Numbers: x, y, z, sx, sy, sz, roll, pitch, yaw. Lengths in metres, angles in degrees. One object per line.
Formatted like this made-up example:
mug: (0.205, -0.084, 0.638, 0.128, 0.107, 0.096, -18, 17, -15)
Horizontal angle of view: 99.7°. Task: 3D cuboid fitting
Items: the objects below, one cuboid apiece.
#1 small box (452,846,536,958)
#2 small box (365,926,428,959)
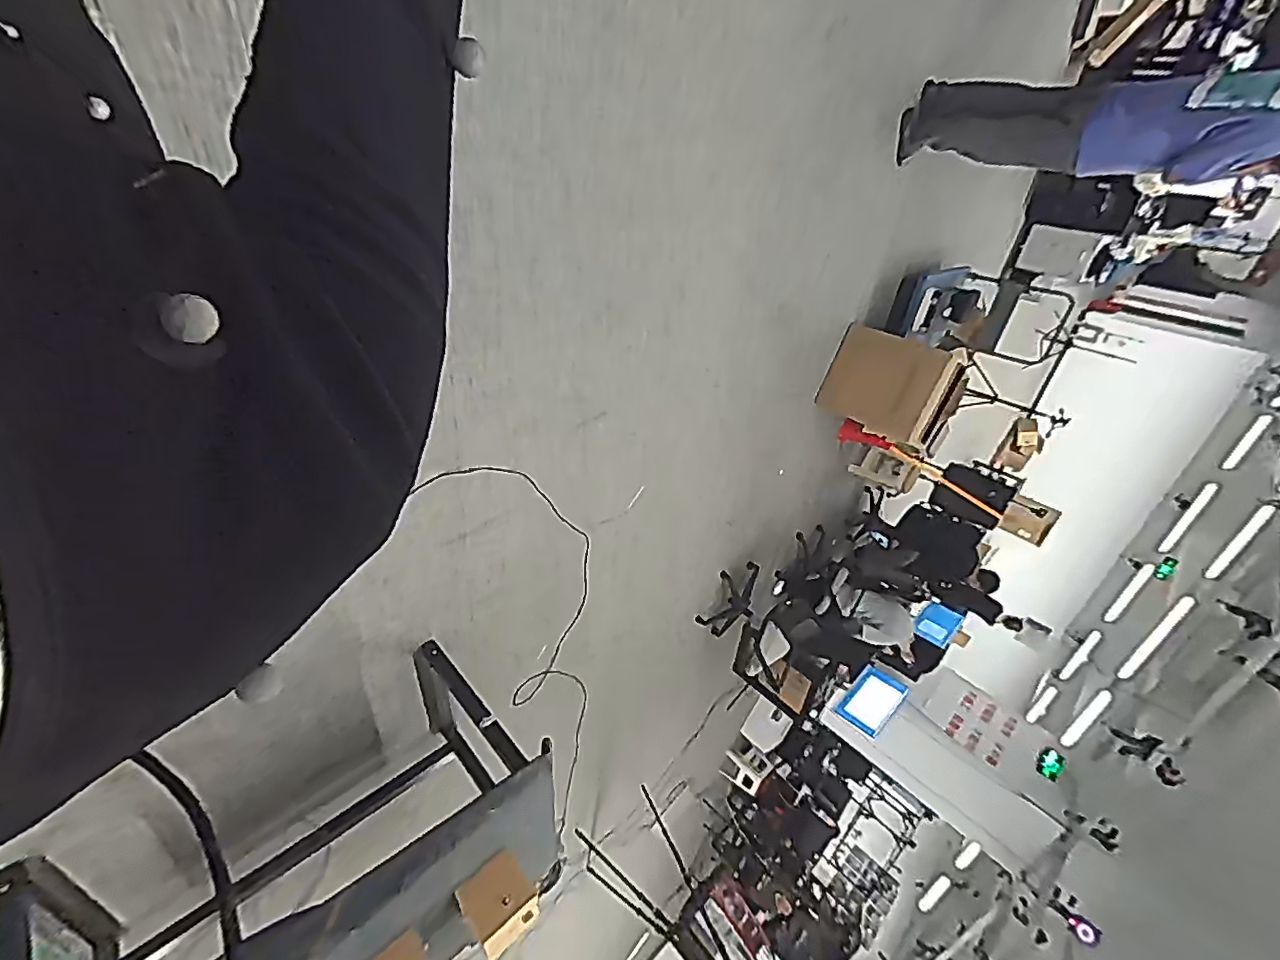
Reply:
small box: (-0.428, 1.239, 1.600, 0.179, 0.176, 0.168, -26, 134, -36)
small box: (-0.639, 1.333, 1.419, 0.168, 0.176, 0.179, -25, 133, -38)
